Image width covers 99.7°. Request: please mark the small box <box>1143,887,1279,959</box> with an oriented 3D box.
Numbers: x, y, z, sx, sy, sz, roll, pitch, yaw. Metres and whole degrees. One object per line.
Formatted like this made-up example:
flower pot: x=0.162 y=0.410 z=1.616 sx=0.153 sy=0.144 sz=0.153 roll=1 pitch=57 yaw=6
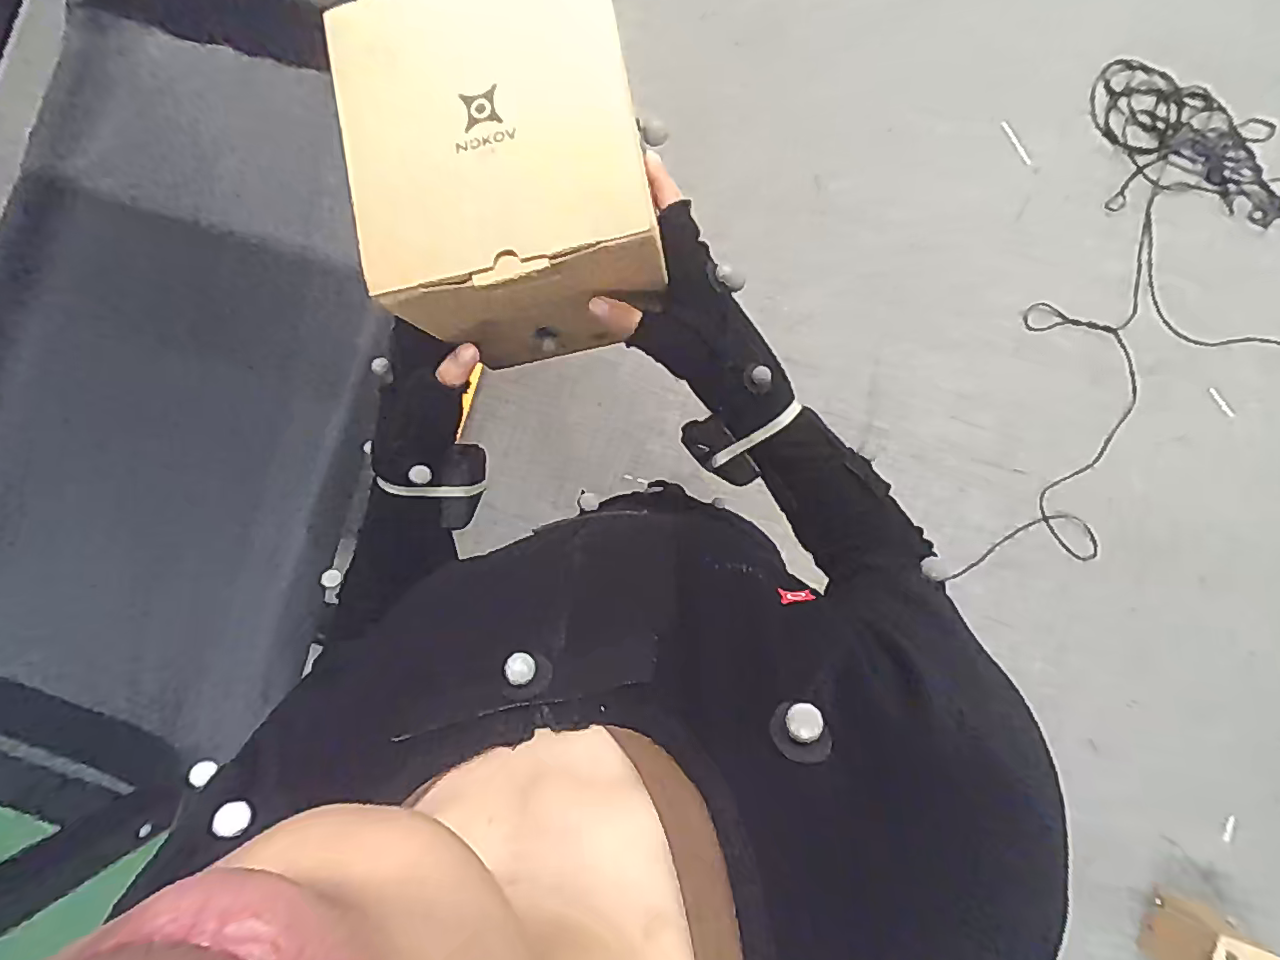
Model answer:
small box: x=1.362 y=1.118 z=1.280 sx=0.179 sy=0.176 sz=0.168 roll=19 pitch=88 yaw=3
